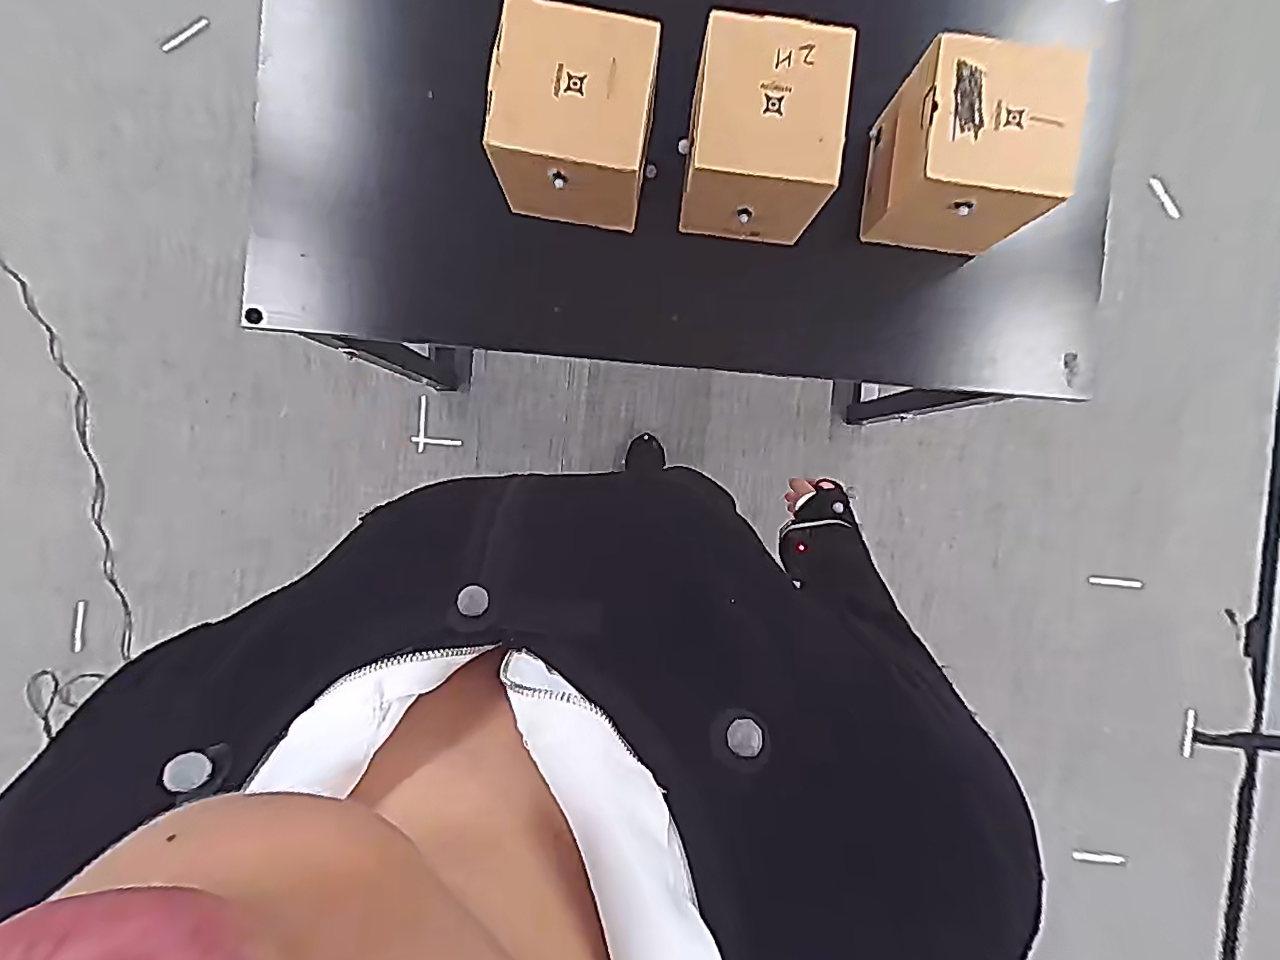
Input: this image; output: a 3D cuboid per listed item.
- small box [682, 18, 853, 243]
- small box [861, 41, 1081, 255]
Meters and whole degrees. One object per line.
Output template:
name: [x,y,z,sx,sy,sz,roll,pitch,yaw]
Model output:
small box: [0.149,-0.427,0.692,0.168,0.176,0.179,7,91,-2]
small box: [0.410,-0.411,0.700,0.179,0.176,0.168,7,91,-2]
